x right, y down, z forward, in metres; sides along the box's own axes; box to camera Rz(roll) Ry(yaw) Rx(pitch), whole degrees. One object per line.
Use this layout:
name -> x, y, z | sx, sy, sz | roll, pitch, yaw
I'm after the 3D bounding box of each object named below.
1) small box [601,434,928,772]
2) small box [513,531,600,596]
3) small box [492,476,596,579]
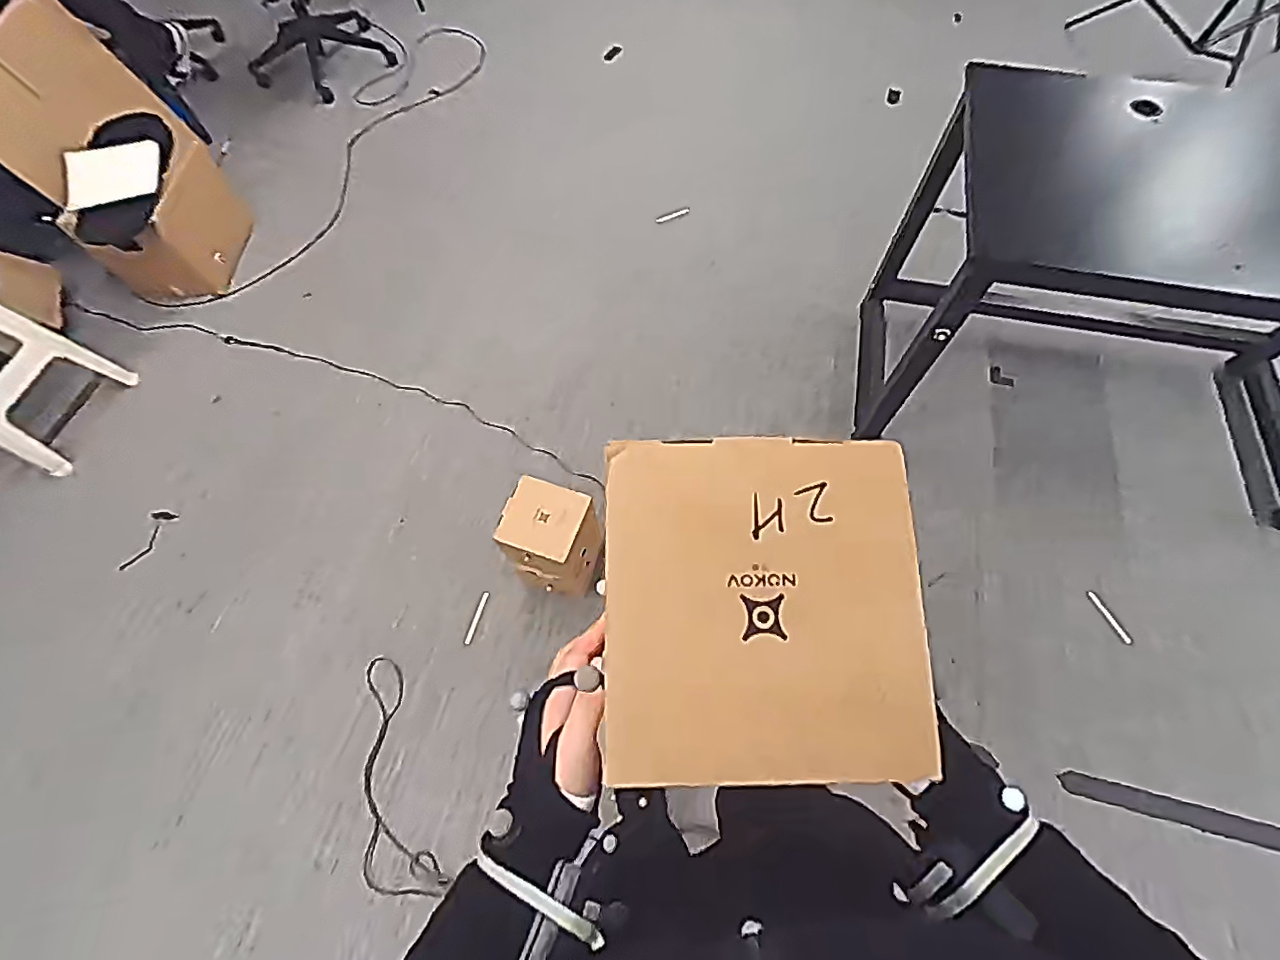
small box -> 0.062, 0.077, 0.365 | 0.168, 0.176, 0.179 | 0, 76, -2
small box -> -0.209, 0.192, 1.416 | 0.168, 0.176, 0.179 | 13, 66, 7
small box -> -0.215, 0.118, 1.270 | 0.179, 0.176, 0.168 | 17, 67, 8
